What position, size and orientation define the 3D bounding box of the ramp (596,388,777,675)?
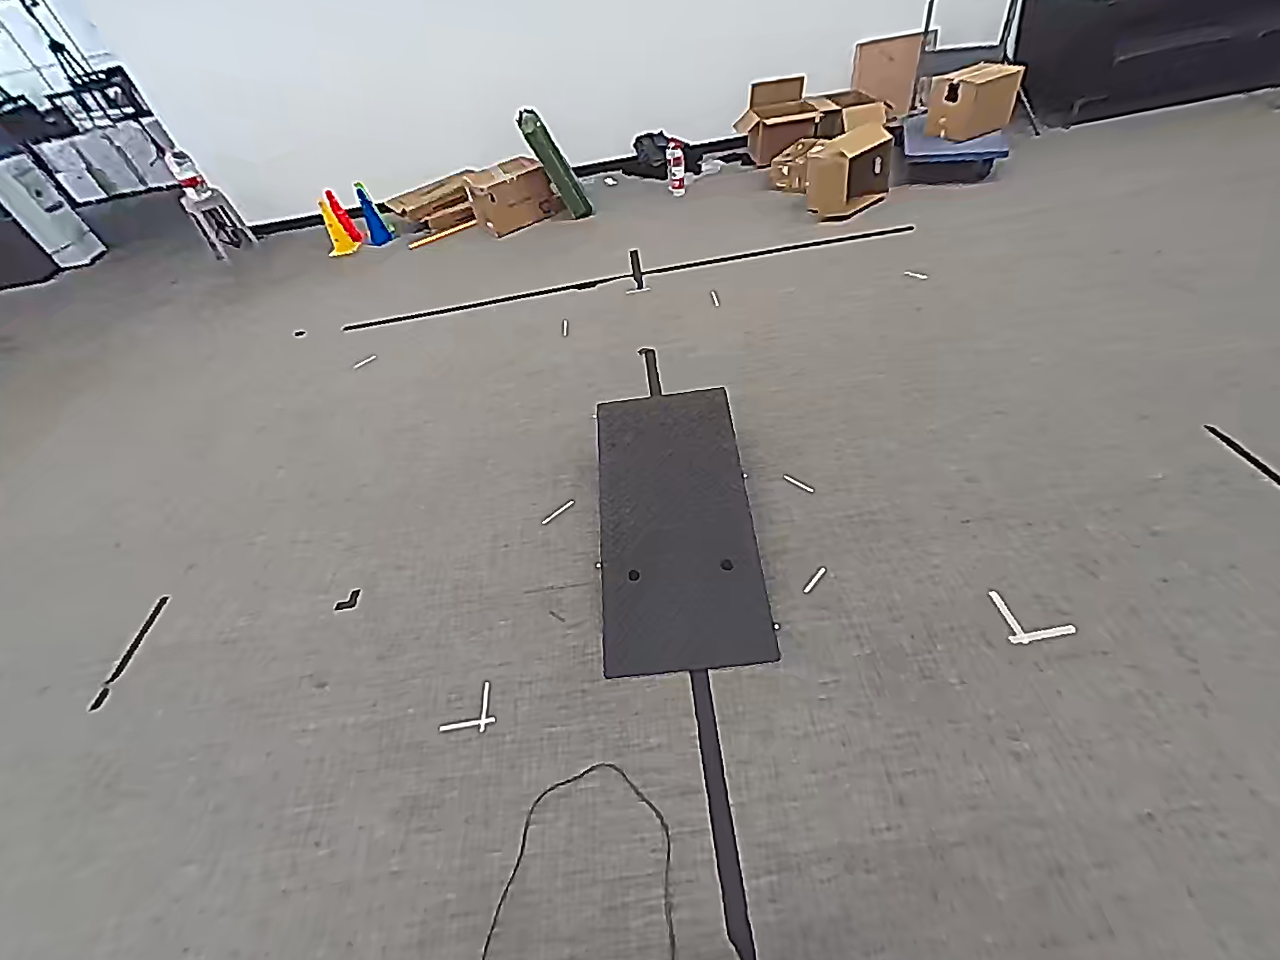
[{"bbox_3d":[0.109,0.103,1.771,0.509,0.206,0.991,-8,47,2],"label":"ramp"}]
